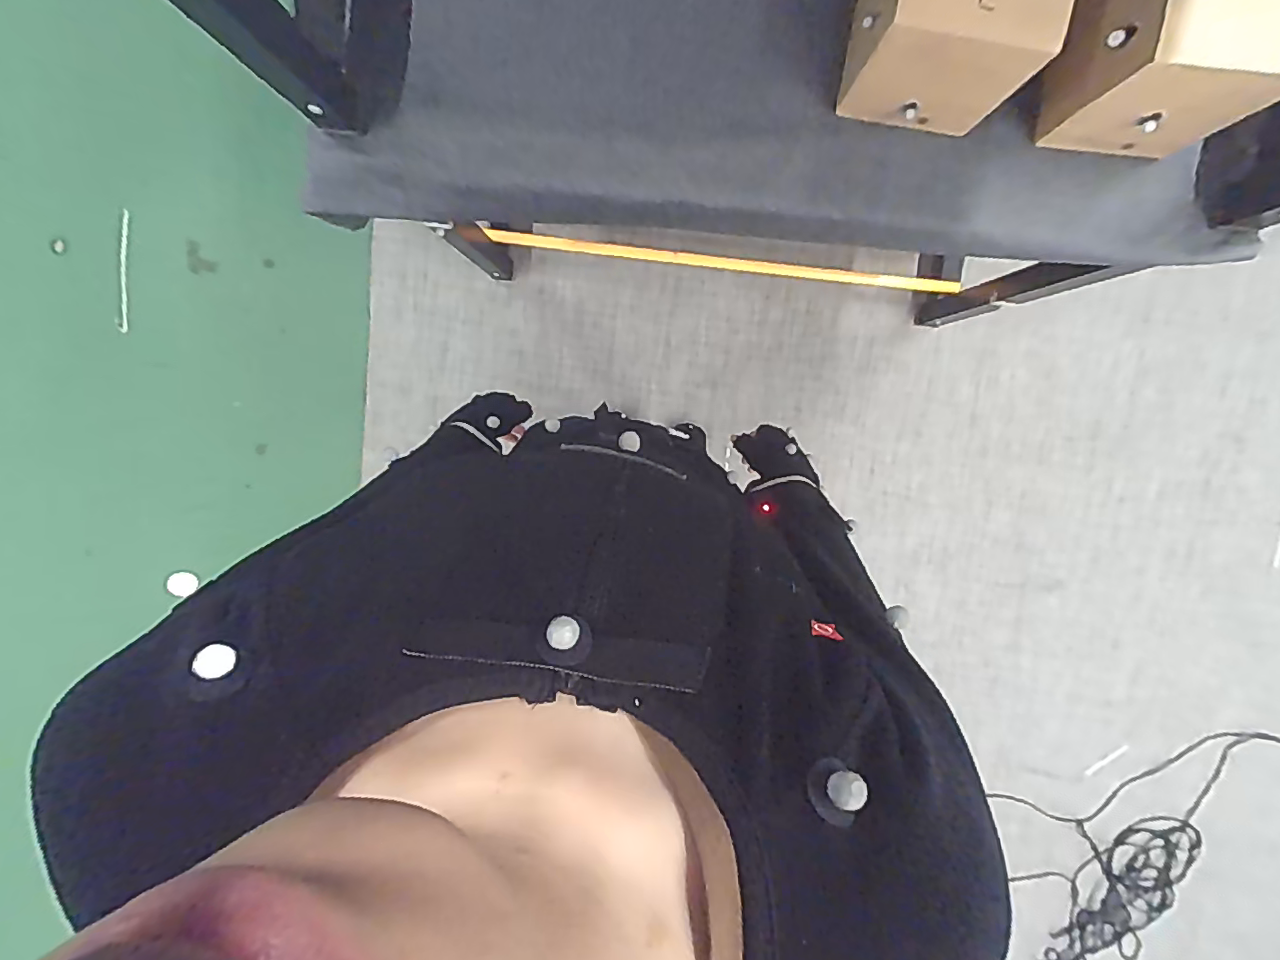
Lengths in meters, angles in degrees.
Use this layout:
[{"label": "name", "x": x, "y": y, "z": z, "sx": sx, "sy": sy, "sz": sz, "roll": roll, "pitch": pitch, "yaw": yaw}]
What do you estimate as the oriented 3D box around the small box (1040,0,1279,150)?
[{"label": "small box", "x": 0.581, "y": -0.490, "z": 0.586, "sx": 0.168, "sy": 0.176, "sz": 0.179, "roll": 6, "pitch": 97, "yaw": 0}]
